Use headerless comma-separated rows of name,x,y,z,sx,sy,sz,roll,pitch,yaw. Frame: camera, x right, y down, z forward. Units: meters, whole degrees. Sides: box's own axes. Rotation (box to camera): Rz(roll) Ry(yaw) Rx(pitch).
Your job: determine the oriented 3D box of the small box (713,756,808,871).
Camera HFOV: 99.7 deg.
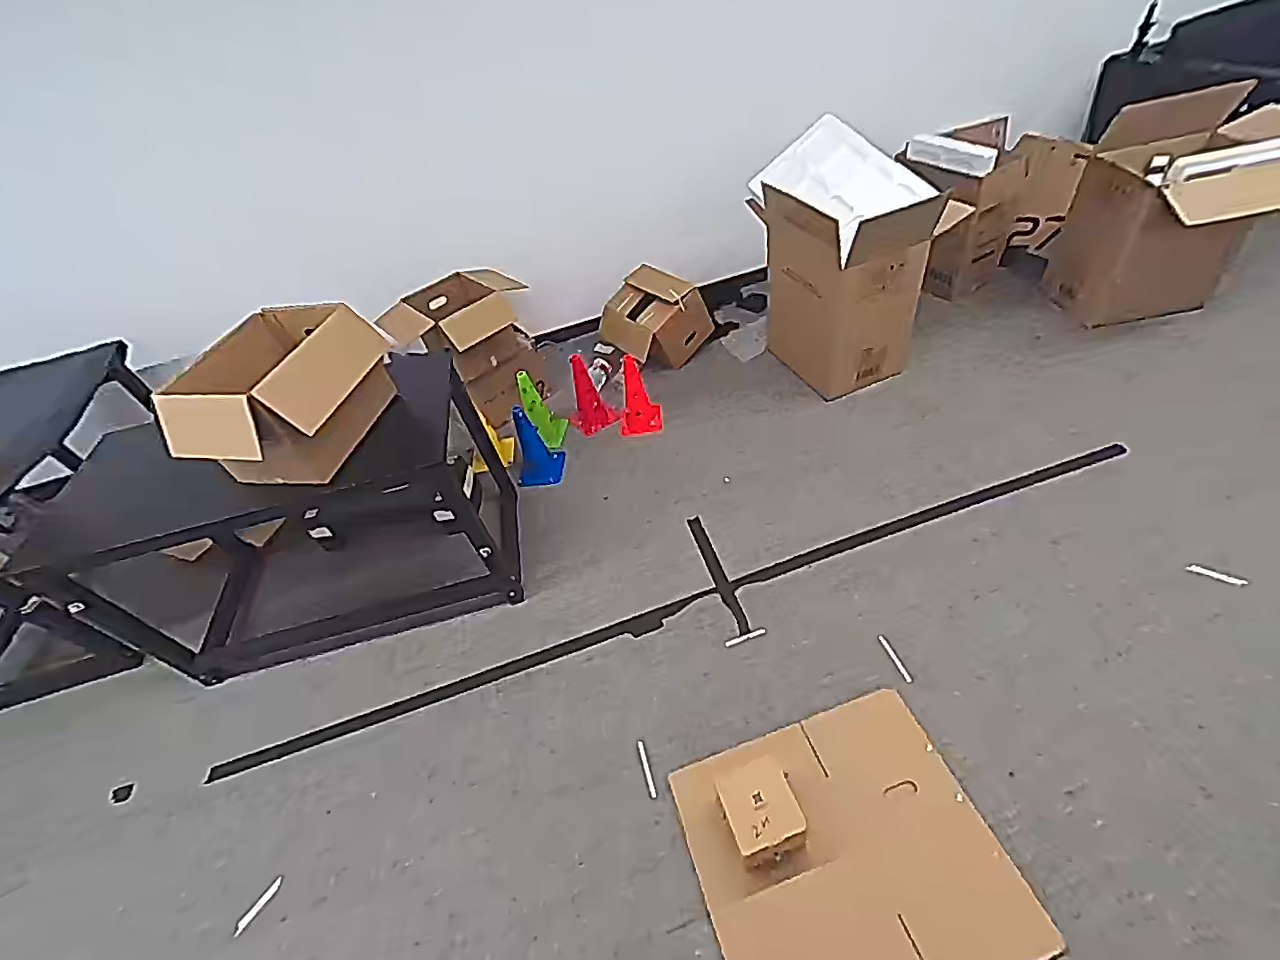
small box,0.289,0.816,1.319,0.168,0.176,0.179,-20,46,-5
